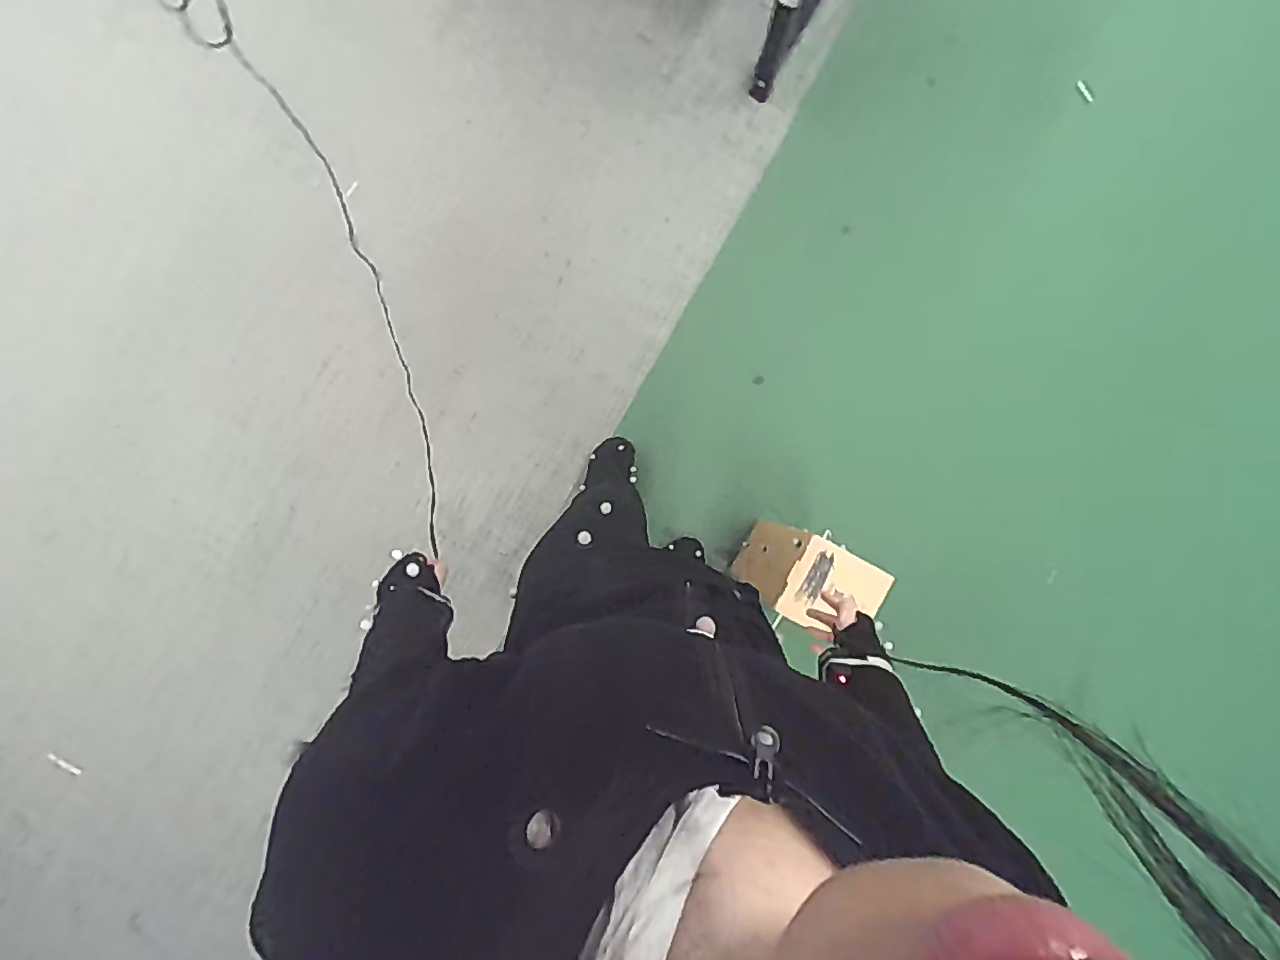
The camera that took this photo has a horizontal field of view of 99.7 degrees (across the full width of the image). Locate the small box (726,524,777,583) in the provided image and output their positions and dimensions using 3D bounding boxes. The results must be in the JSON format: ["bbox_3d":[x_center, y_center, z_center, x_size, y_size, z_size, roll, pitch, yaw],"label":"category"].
[{"bbox_3d":[0.348,0.224,1.410,0.179,0.176,0.168,31,87,0],"label":"small box"}]

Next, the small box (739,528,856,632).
[{"bbox_3d":[0.353,0.220,1.248,0.179,0.176,0.168,29,88,0],"label":"small box"}]
